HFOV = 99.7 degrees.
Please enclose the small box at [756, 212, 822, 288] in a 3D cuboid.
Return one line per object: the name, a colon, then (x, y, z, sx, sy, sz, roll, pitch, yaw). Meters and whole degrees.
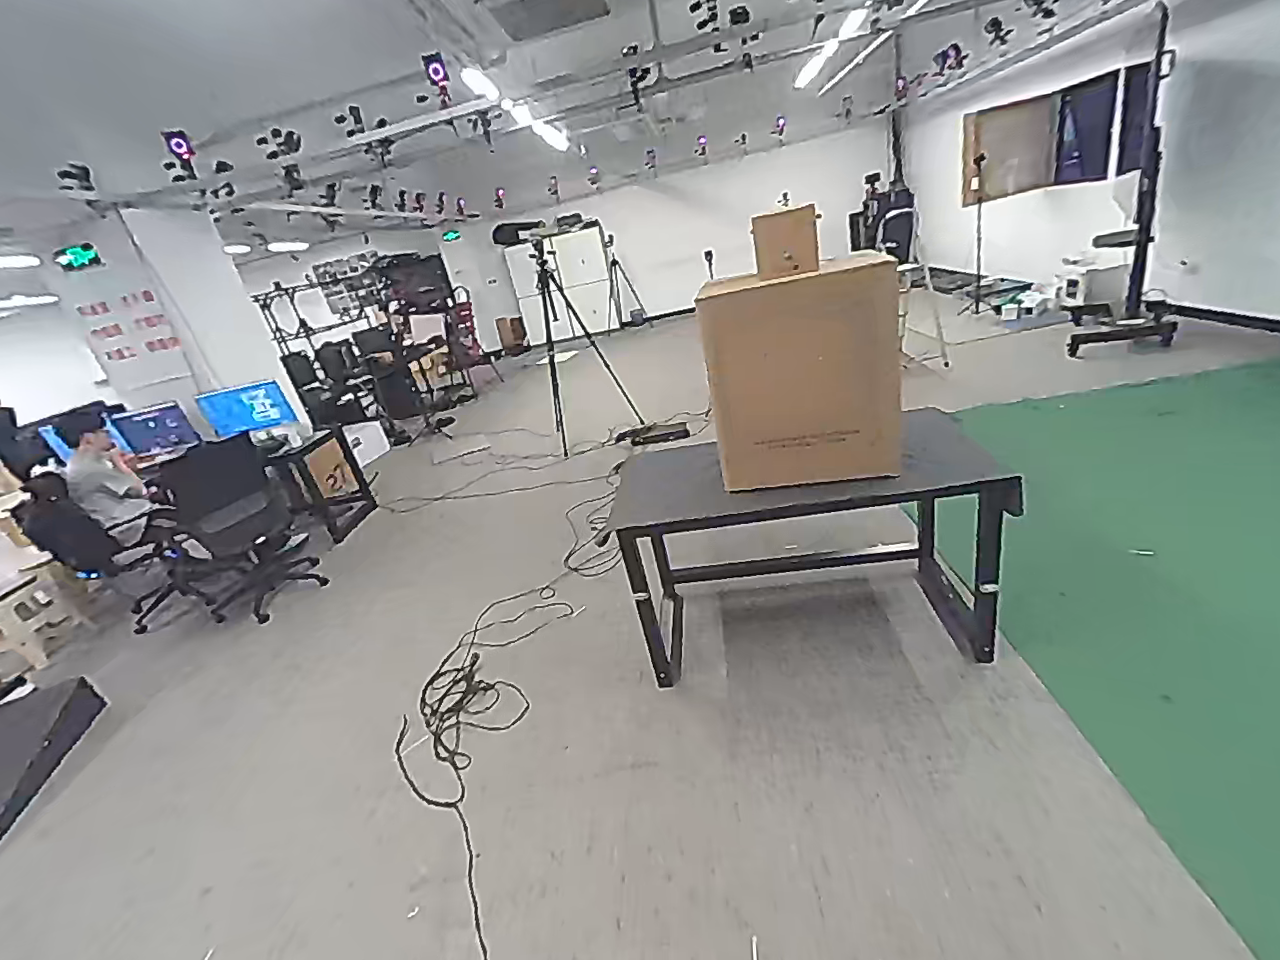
small box: (0.429, -0.656, 1.545, 0.168, 0.176, 0.179, -4, 27, 19)
